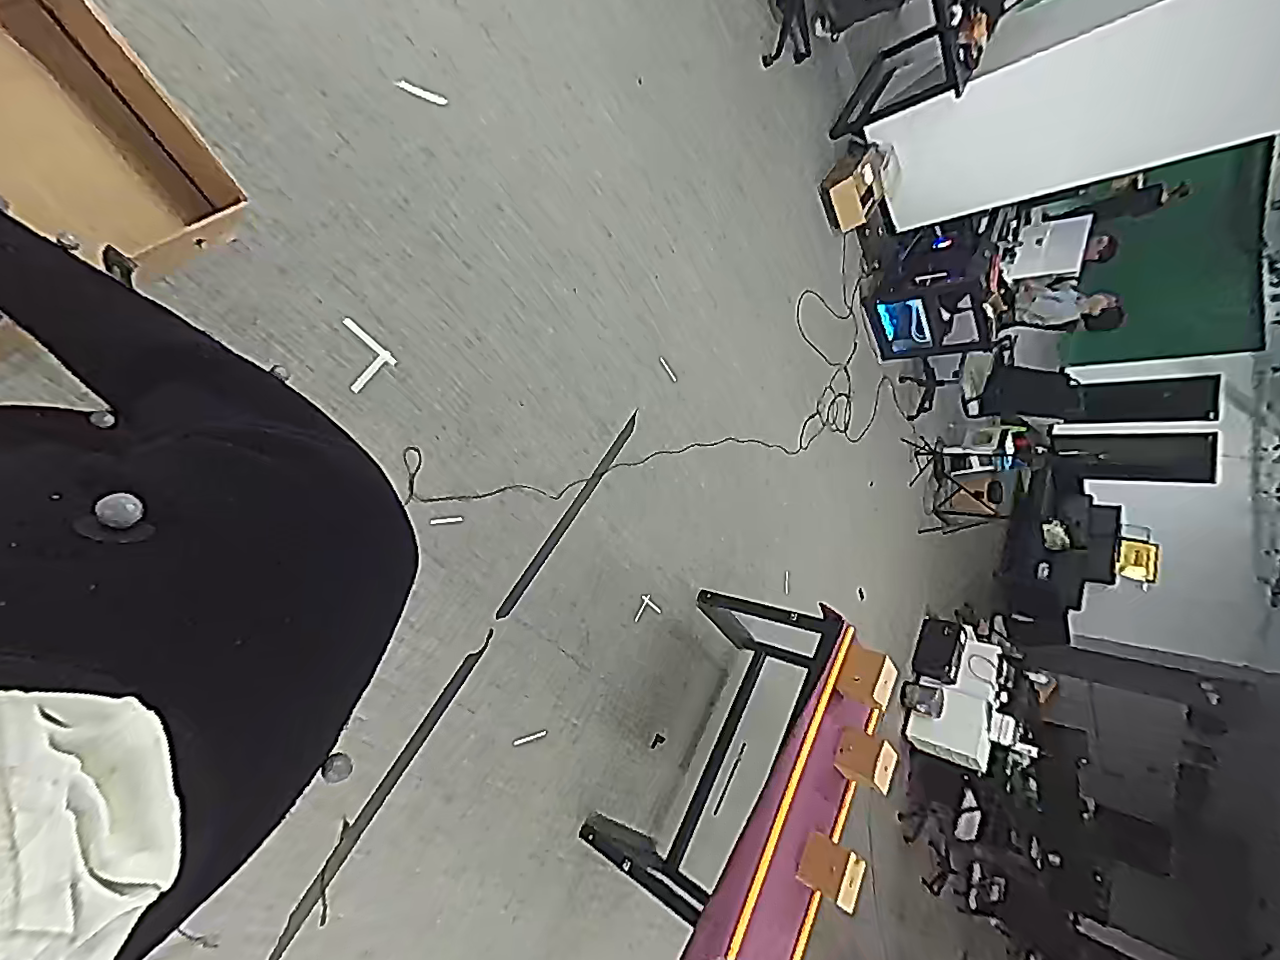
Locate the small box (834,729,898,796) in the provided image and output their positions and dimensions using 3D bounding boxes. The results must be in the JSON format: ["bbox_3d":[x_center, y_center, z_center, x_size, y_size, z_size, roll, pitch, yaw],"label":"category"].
[{"bbox_3d":[0.918,1.143,2.199,0.179,0.176,0.168,50,59,-32],"label":"small box"}]

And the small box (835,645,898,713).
[{"bbox_3d":[0.897,0.789,2.154,0.168,0.176,0.179,50,61,-35],"label":"small box"}]

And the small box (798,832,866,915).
[{"bbox_3d":[0.712,1.466,2.018,0.168,0.176,0.179,50,58,-33],"label":"small box"}]
